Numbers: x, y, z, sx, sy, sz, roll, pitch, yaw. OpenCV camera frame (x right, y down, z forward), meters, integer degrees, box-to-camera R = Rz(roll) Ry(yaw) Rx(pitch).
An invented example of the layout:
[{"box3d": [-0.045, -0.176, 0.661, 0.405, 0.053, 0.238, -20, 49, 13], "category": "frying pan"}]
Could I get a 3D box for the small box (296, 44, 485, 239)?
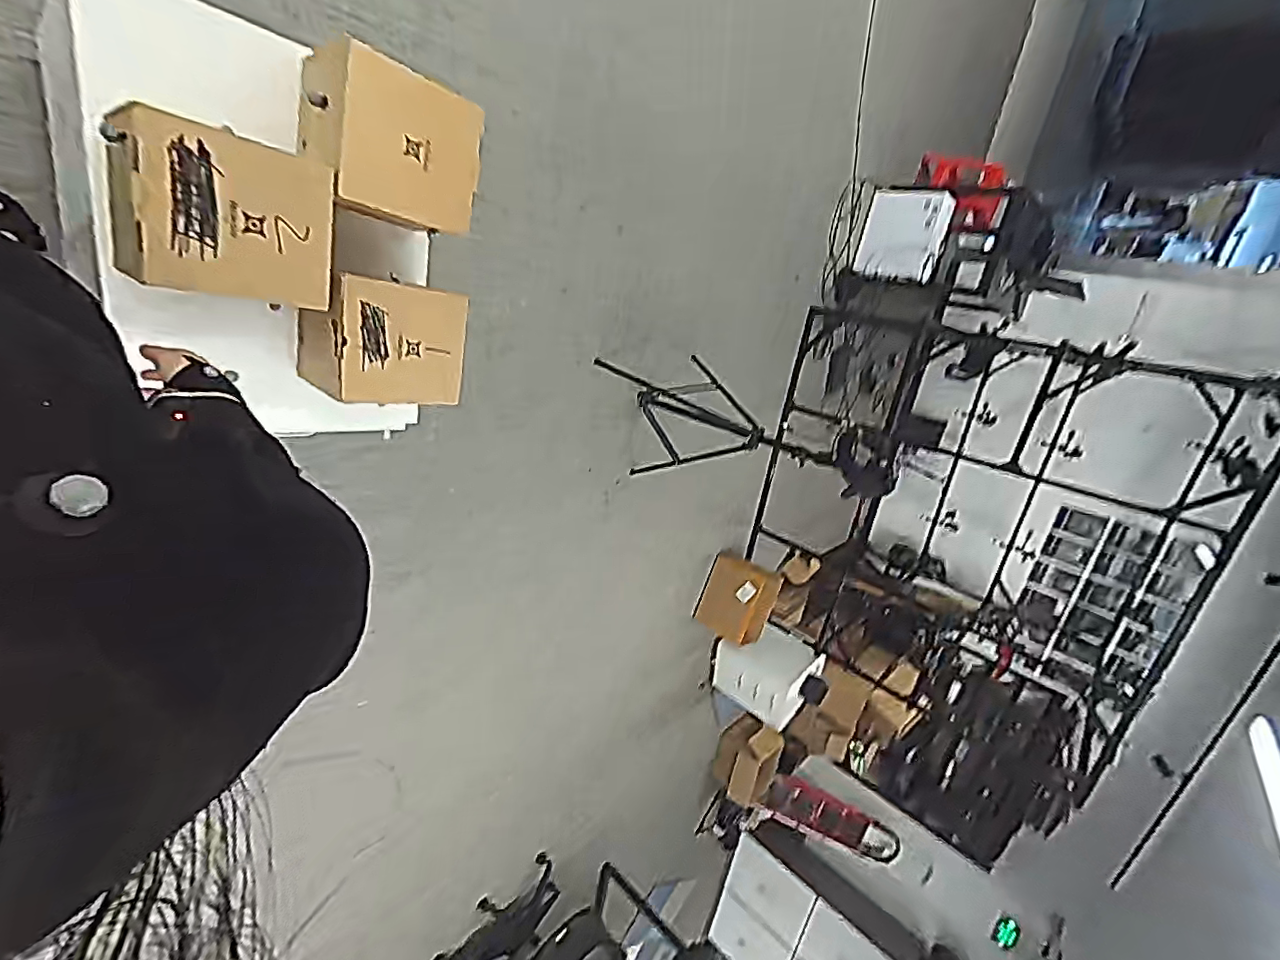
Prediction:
[{"box3d": [-0.342, -0.441, 0.733, 0.179, 0.176, 0.168, -4, 114, -49], "category": "small box"}]
